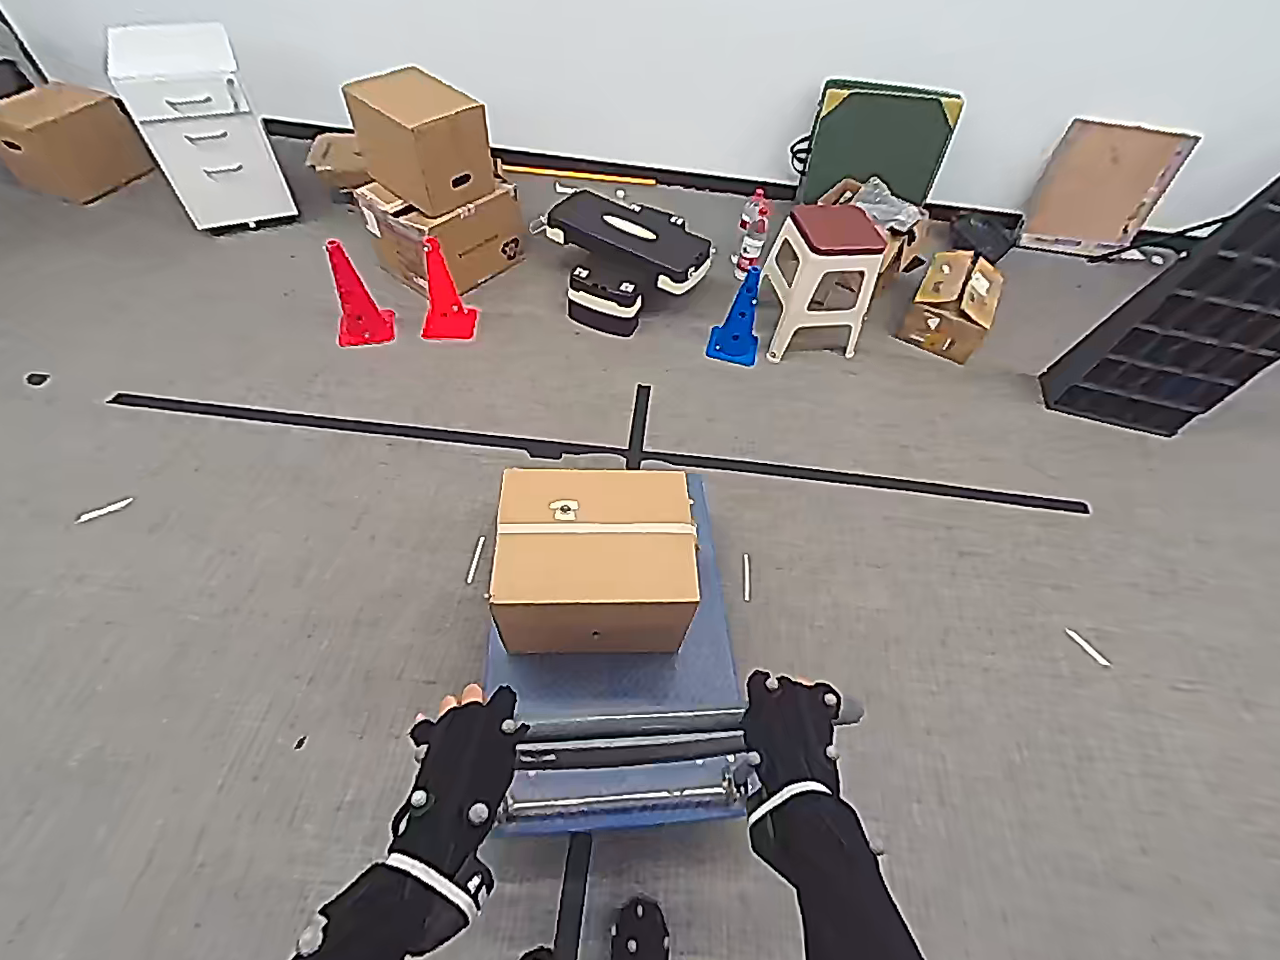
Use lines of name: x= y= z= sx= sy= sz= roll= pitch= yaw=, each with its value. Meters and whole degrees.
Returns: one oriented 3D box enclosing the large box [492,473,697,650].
large box: x=-0.101 y=0.196 z=1.252 sx=0.408 sy=0.320 sz=0.320 roll=0 pitch=55 yaw=-5
